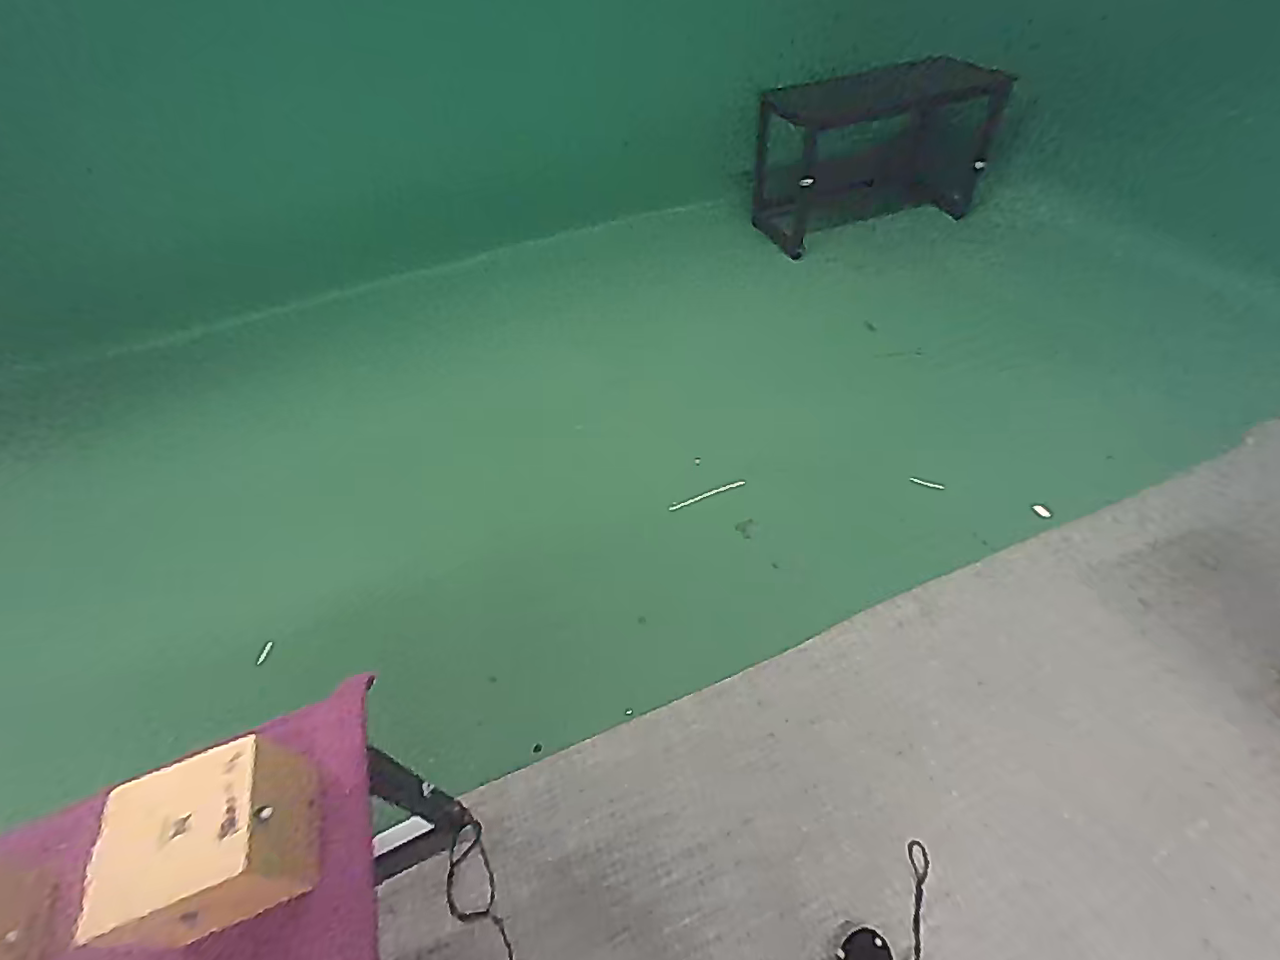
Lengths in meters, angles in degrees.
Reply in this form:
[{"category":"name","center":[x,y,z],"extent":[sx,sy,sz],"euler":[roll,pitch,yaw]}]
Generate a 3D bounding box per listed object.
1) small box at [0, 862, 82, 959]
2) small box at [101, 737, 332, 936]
[{"category":"small box","center":[-0.880,0.613,0.676],"extent":[0.179,0.176,0.168],"euler":[-22,53,-12]},{"category":"small box","center":[-0.553,0.488,0.738],"extent":[0.179,0.176,0.168],"euler":[-20,51,-10]}]
